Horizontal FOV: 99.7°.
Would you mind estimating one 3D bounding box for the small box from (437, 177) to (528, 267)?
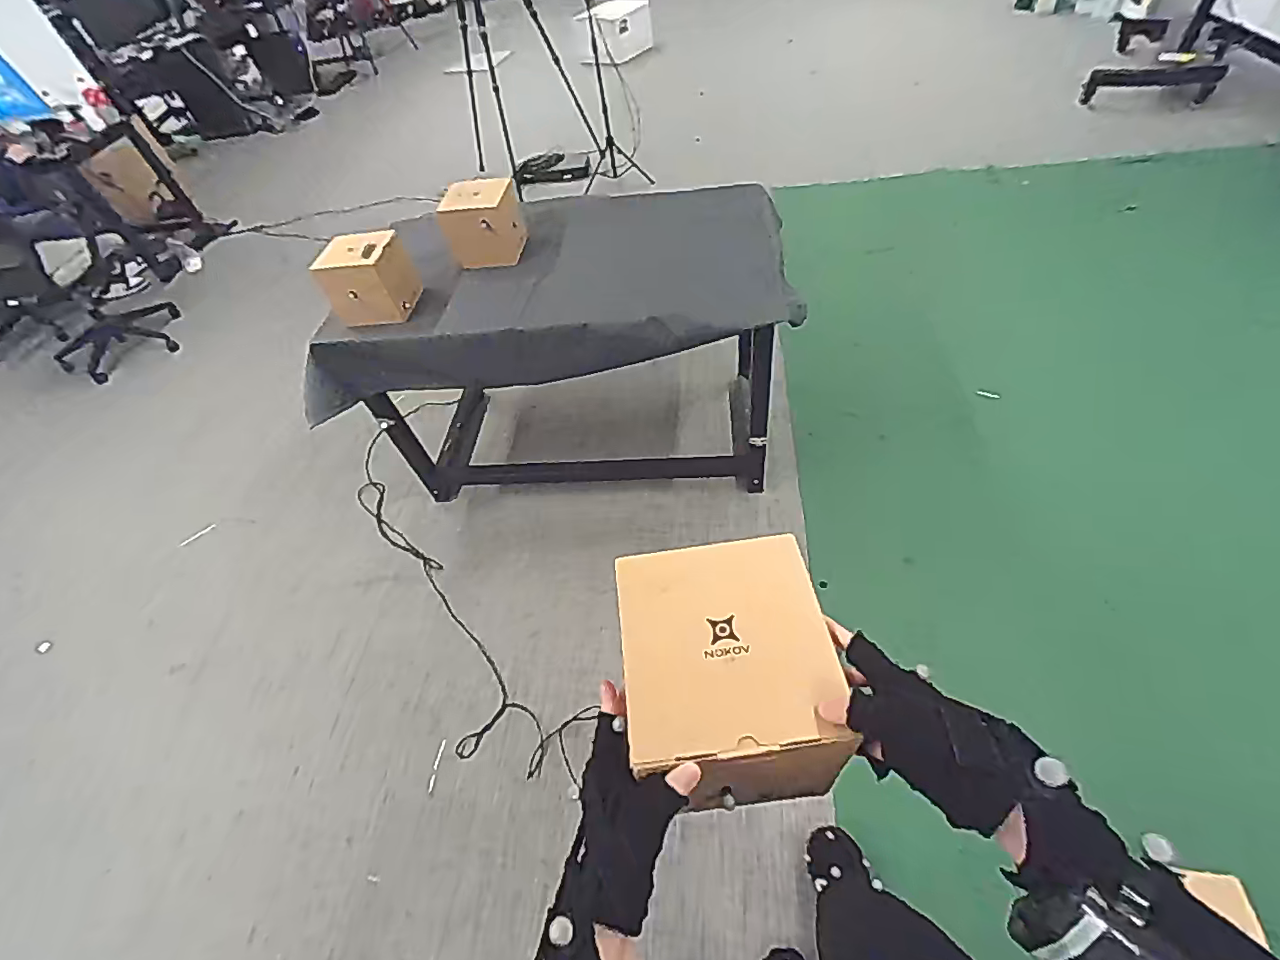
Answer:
[{"bbox_3d":[-0.429,-0.718,1.511,0.179,0.176,0.168,0,53,9],"label":"small box"}]

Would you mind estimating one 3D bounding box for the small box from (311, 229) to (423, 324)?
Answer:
[{"bbox_3d":[-0.695,-0.525,1.404,0.179,0.176,0.168,-2,51,8],"label":"small box"}]
